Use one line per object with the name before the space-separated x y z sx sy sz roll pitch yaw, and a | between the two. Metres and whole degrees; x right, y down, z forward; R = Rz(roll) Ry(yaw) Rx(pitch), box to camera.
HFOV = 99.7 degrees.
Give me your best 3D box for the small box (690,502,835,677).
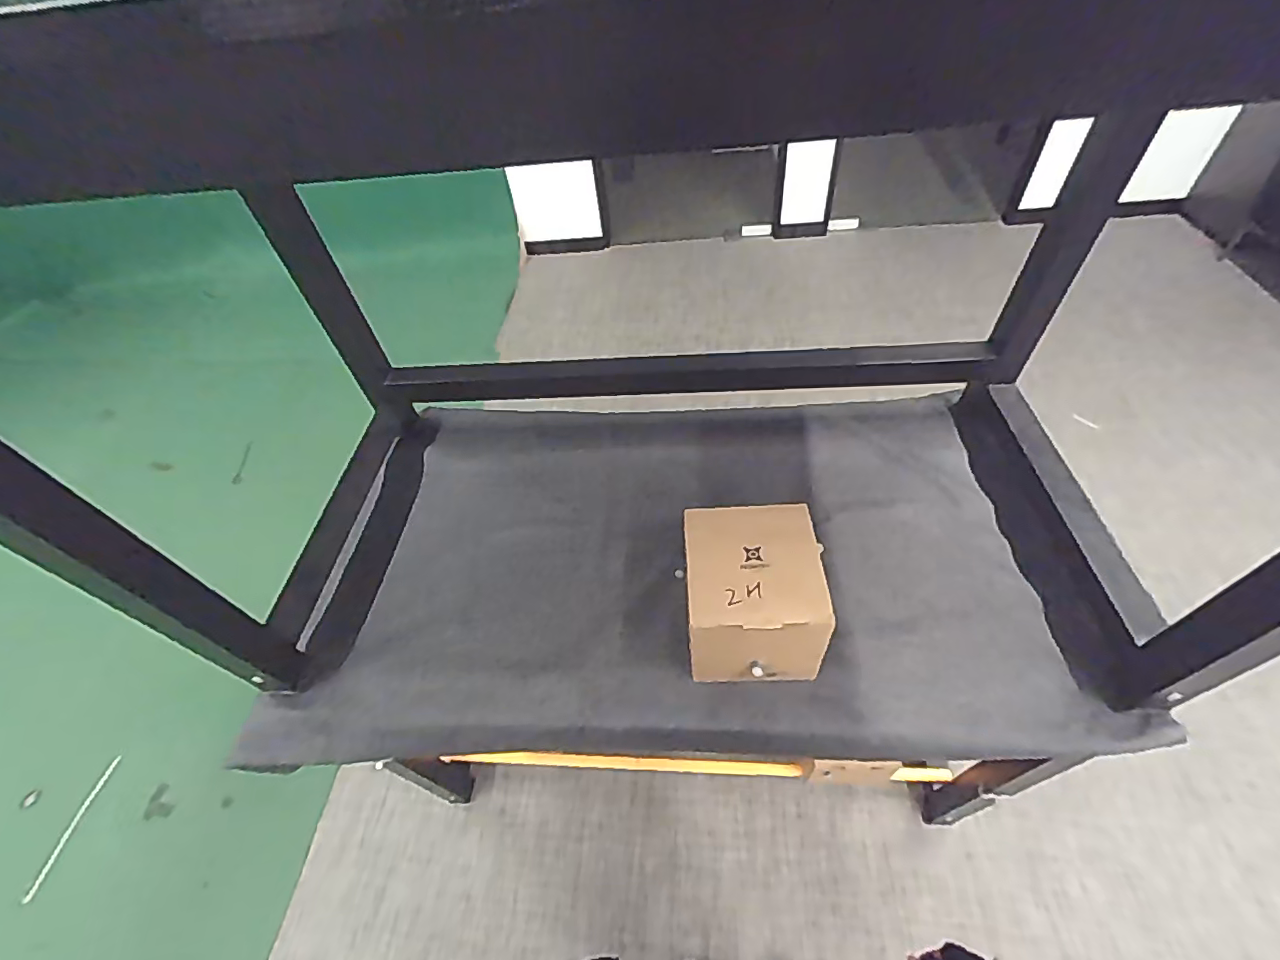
small box | 0.152 0.150 0.737 0.168 0.176 0.179 -3 48 5
